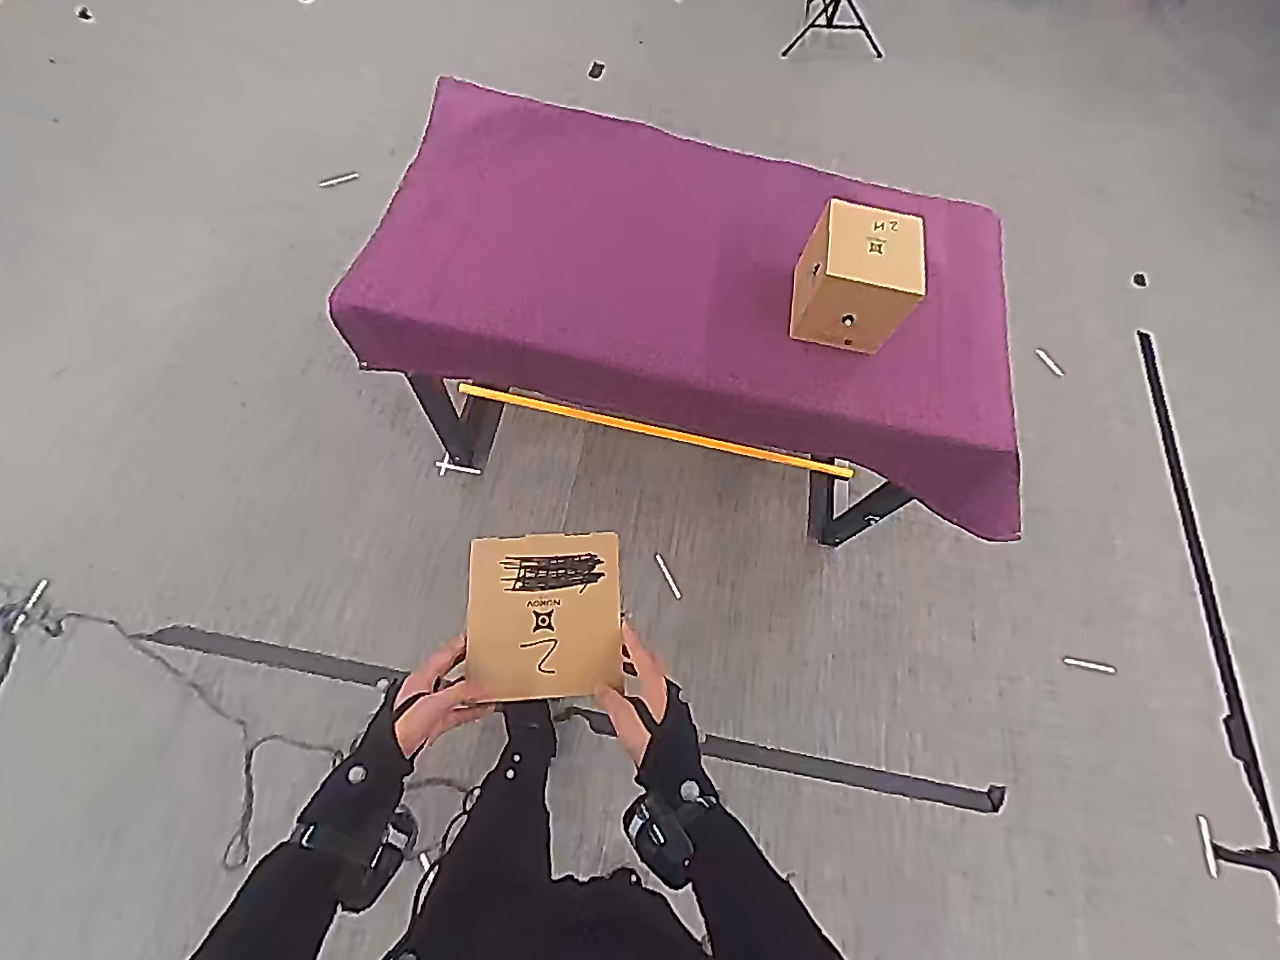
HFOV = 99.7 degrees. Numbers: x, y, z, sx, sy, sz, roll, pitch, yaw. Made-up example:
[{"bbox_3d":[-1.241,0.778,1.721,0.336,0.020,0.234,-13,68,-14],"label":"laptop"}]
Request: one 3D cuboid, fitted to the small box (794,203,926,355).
[{"bbox_3d":[0.387,-0.350,0.969,0.168,0.176,0.179,12,67,-1],"label":"small box"}]
